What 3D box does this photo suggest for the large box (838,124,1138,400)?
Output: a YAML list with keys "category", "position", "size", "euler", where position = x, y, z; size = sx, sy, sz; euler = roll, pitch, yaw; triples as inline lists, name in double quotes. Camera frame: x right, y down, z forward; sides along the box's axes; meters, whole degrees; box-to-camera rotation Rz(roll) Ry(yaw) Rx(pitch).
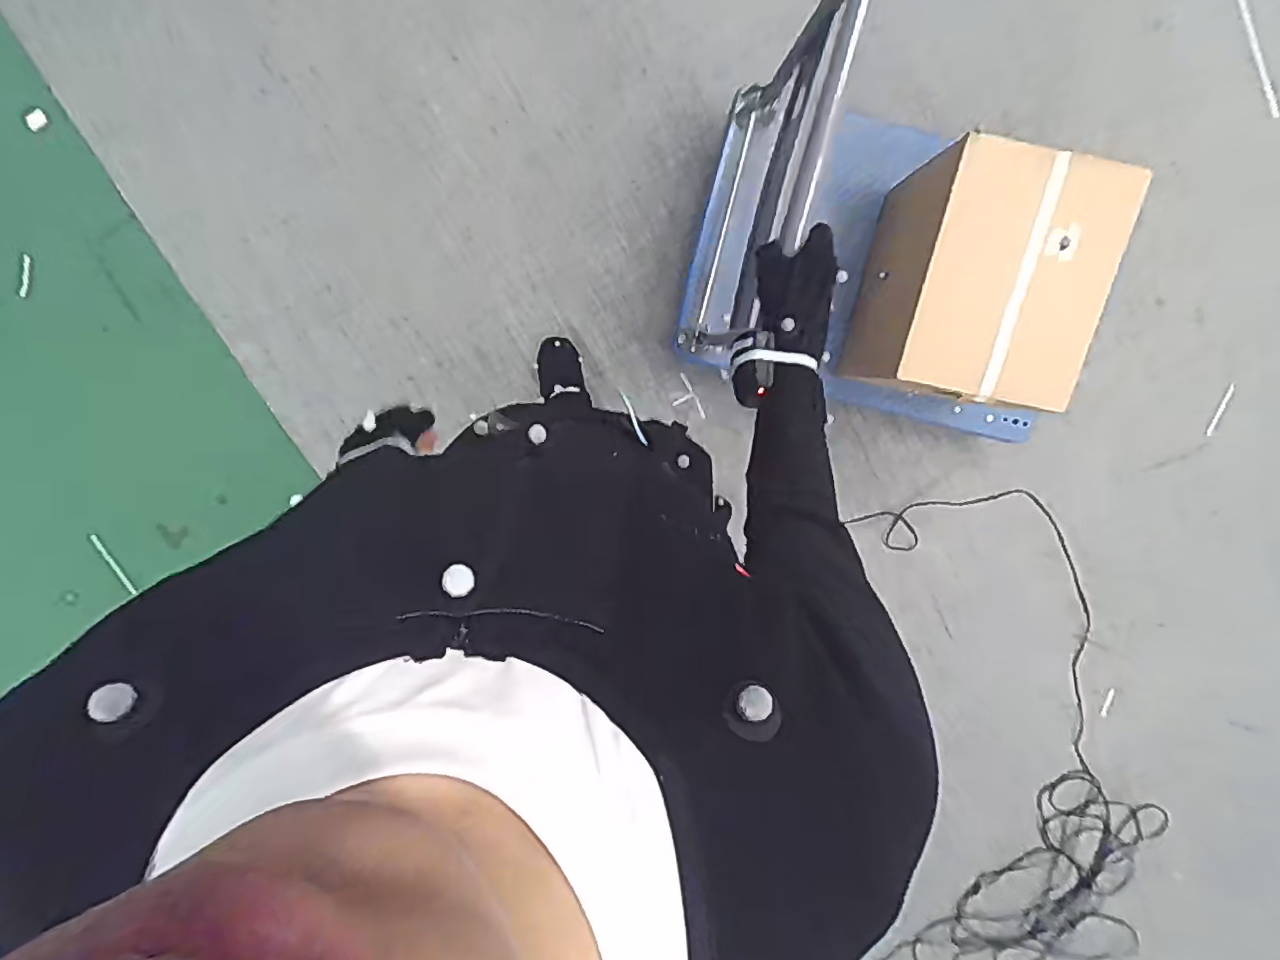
- category: "large box"
  position: [0.633, -0.387, 1.065]
  size: [0.320, 0.320, 0.408]
  euler: [12, 101, -3]
